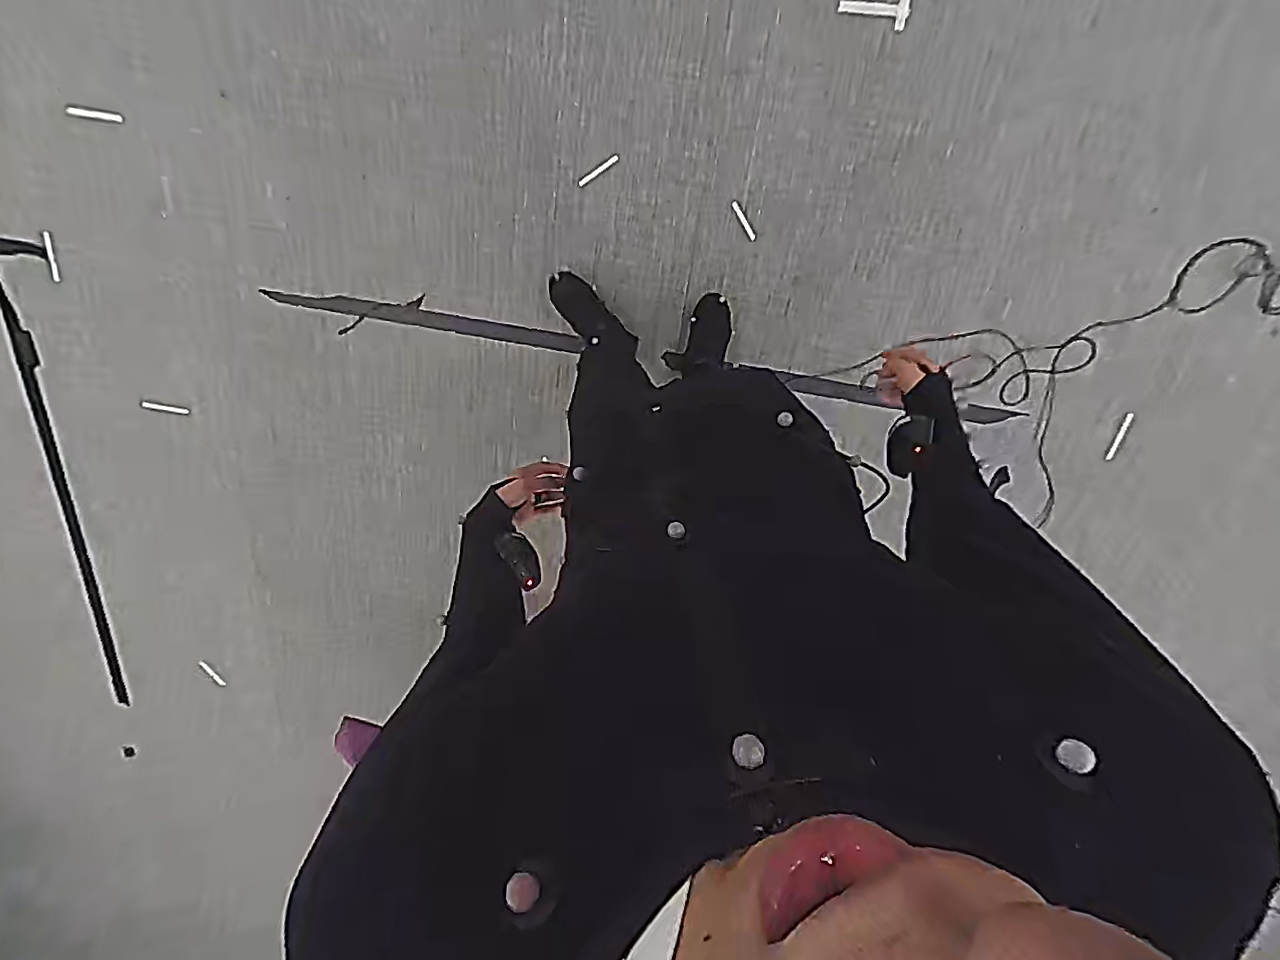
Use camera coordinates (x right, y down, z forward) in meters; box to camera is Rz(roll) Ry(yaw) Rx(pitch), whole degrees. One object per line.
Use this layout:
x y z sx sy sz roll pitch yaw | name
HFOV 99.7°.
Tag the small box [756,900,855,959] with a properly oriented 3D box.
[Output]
0.370 1.078 1.199 0.179 0.176 0.168 12 113 1 | small box
